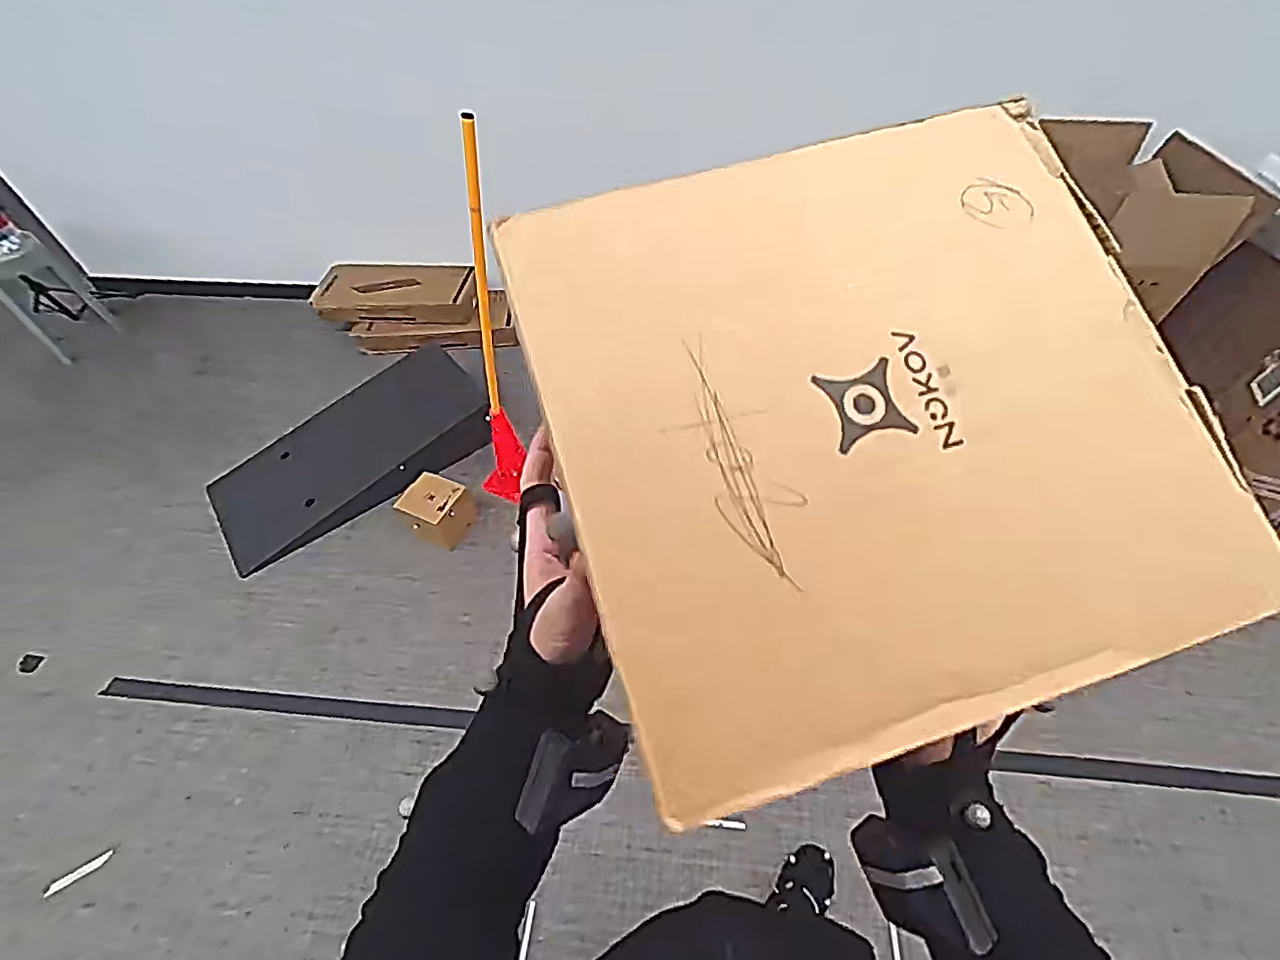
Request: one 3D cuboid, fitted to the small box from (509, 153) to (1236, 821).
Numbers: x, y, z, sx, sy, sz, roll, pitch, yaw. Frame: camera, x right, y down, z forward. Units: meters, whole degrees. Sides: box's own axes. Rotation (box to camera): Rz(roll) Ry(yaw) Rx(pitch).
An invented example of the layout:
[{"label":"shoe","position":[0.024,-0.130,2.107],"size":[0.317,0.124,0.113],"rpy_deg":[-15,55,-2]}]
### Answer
[{"label":"small box","position":[0.061,0.006,0.239],"size":[0.179,0.176,0.168],"rpy_deg":[-18,77,-5]}]
